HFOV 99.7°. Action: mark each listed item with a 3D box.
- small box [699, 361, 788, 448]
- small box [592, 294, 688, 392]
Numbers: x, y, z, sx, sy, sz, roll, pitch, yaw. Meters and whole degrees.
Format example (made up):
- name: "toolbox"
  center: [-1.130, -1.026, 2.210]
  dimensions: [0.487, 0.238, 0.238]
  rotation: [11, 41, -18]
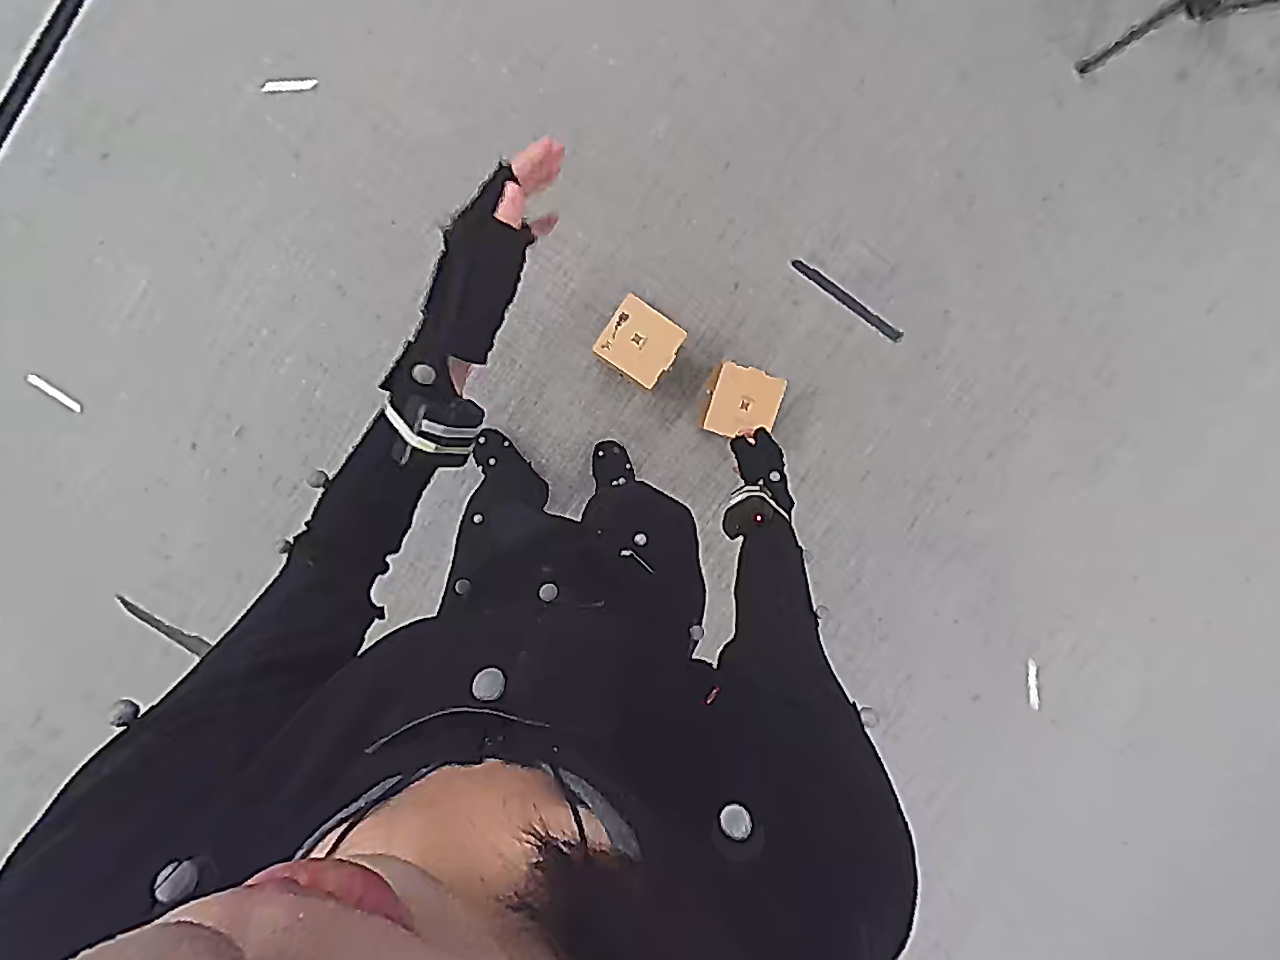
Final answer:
- name: "small box"
  center: [0.257, -0.193, 1.393]
  dimensions: [0.168, 0.176, 0.179]
  rotation: [17, 96, -2]
- name: "small box"
  center: [-0.001, -0.339, 1.371]
  dimensions: [0.179, 0.176, 0.168]
  rotation: [35, 94, -5]
